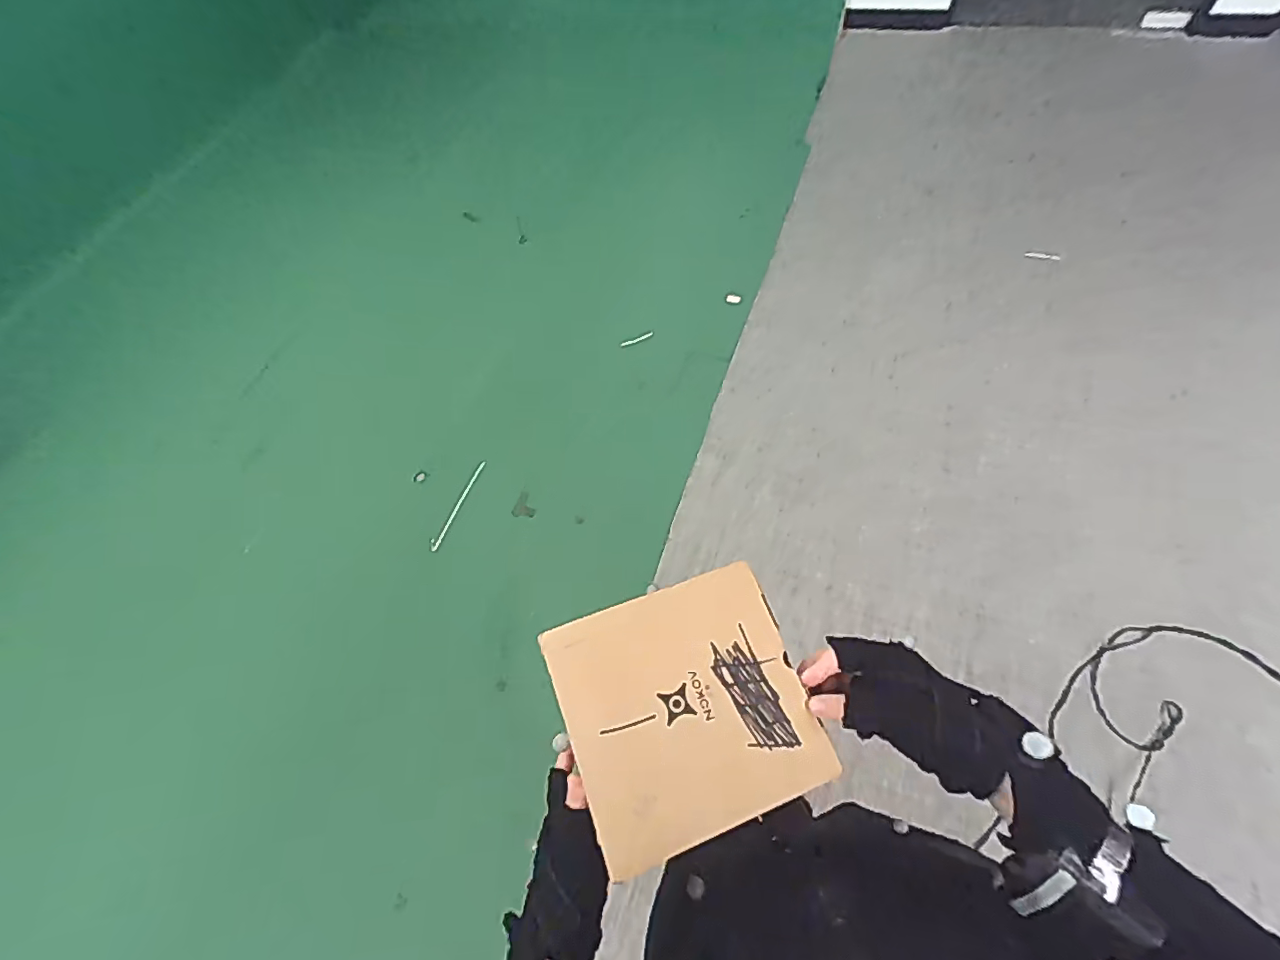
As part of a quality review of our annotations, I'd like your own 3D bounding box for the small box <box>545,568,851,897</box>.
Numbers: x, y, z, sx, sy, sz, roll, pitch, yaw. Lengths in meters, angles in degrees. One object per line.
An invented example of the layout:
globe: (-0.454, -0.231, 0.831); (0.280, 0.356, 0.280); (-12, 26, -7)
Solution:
small box: (0.030, 0.193, 0.448); (0.179, 0.176, 0.168); (-17, 68, -12)
